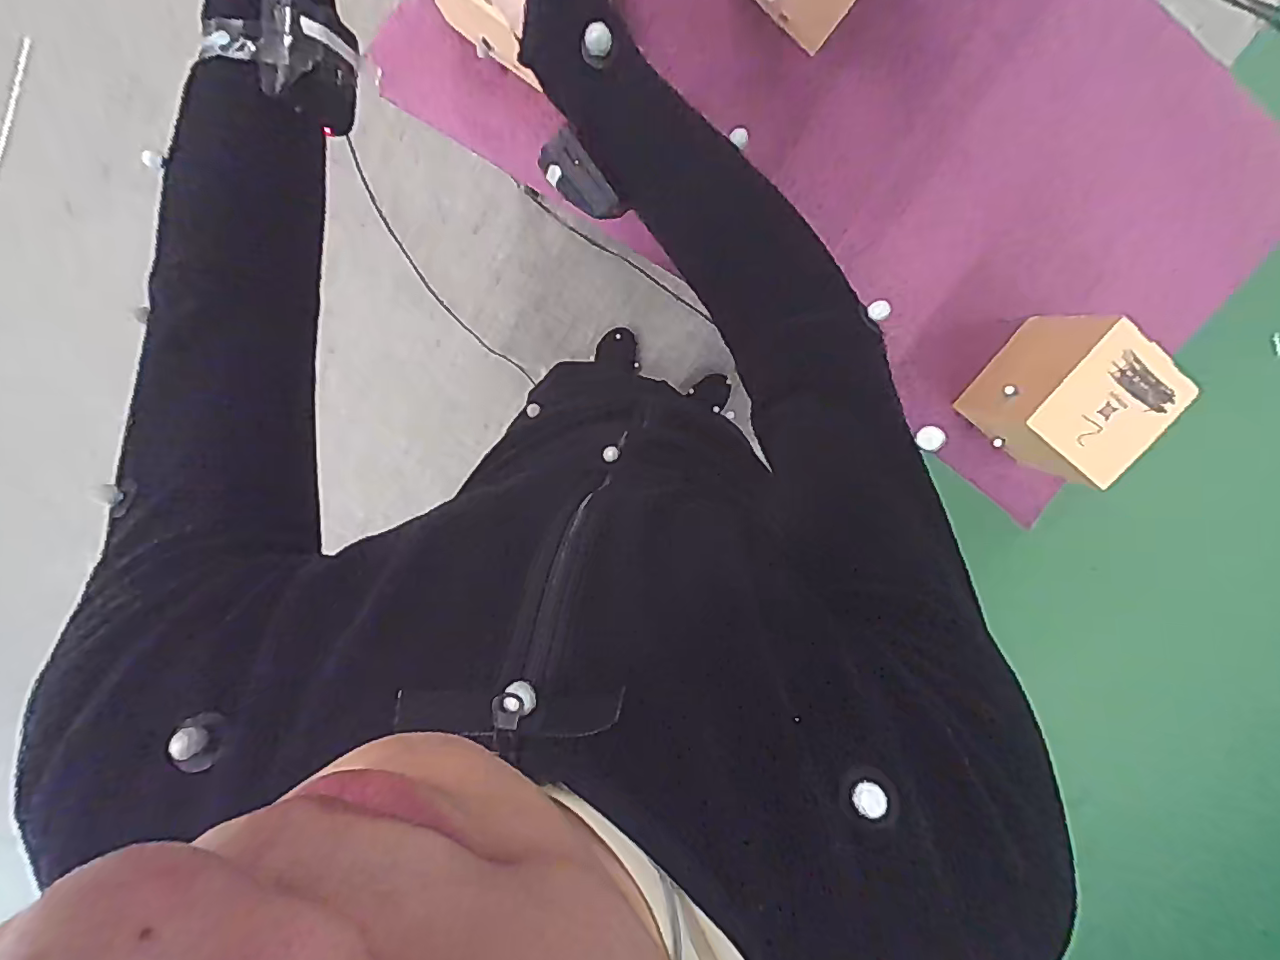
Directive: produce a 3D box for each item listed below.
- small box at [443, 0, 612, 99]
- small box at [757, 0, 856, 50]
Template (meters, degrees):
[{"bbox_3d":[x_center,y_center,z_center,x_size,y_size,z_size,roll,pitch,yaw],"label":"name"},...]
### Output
[{"bbox_3d":[-0.129,-0.600,0.626,0.168,0.176,0.179,31,103,-10],"label":"small box"},{"bbox_3d":[0.225,-0.662,0.620,0.168,0.176,0.179,36,103,-11],"label":"small box"}]
